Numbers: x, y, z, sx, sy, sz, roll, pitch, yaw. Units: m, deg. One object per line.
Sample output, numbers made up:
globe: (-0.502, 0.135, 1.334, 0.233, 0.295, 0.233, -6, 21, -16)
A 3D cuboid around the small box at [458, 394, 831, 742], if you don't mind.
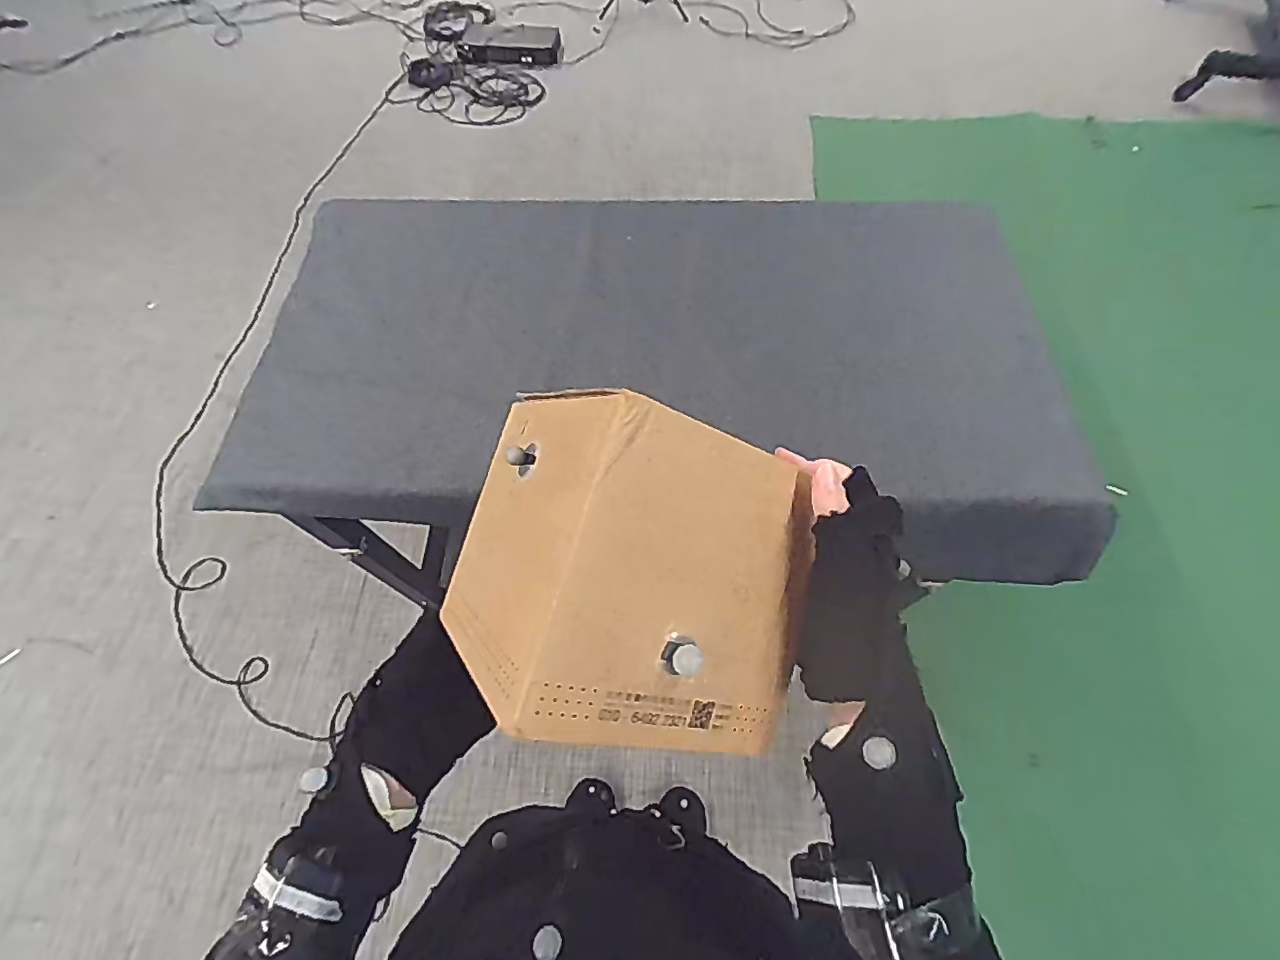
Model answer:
small box: (-0.009, 0.053, 0.374, 0.168, 0.179, 0.176, 20, 86, -31)
